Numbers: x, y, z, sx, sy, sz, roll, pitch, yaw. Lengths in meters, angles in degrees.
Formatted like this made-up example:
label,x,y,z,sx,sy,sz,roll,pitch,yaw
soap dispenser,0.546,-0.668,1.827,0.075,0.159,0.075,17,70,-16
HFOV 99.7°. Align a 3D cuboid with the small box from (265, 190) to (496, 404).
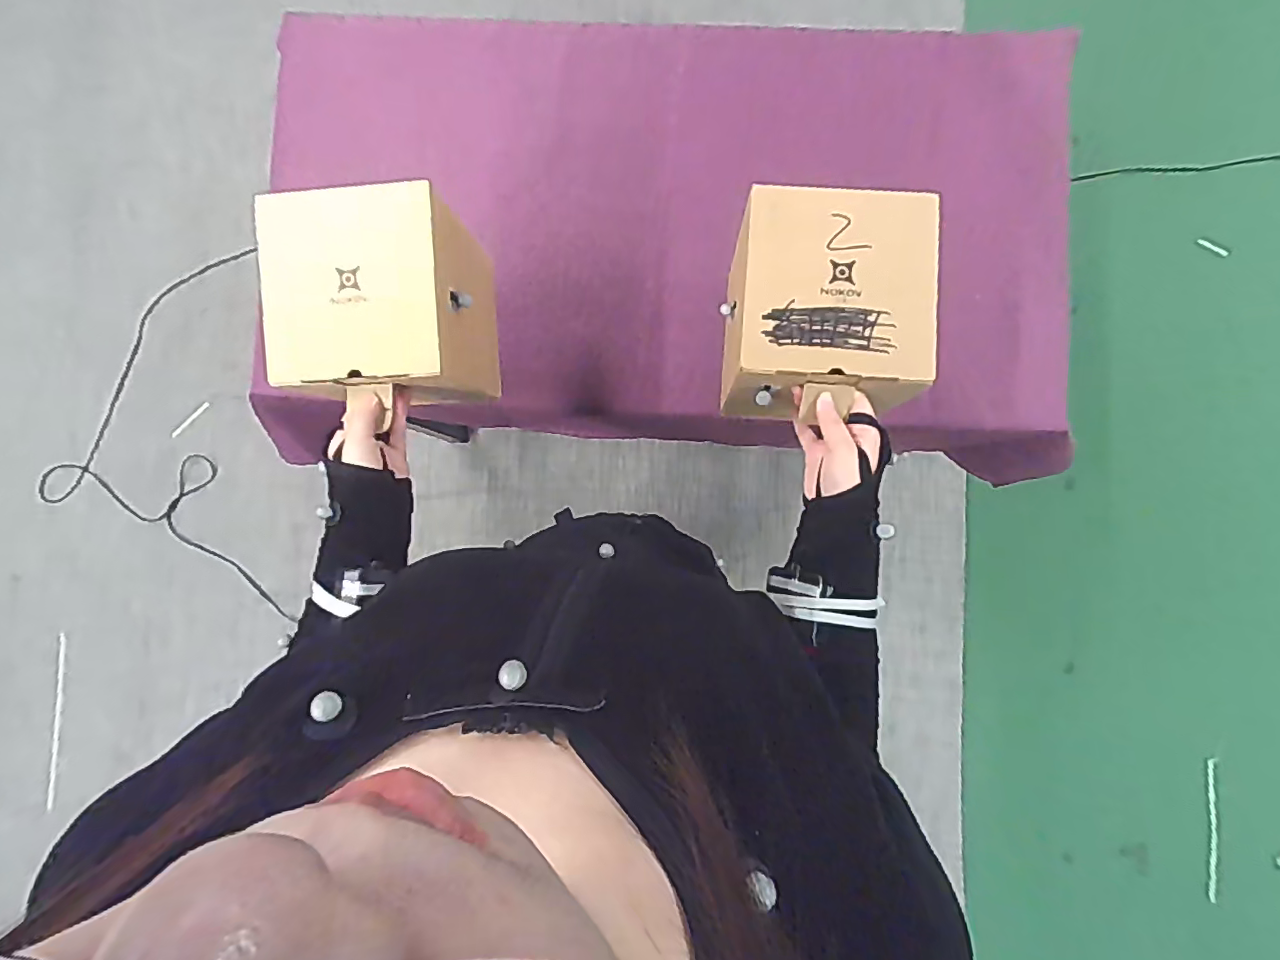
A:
label,x,y,z,sx,sy,sz,roll,pitch,yaw
small box,-0.263,-0.182,0.586,0.168,0.176,0.179,-3,92,3
